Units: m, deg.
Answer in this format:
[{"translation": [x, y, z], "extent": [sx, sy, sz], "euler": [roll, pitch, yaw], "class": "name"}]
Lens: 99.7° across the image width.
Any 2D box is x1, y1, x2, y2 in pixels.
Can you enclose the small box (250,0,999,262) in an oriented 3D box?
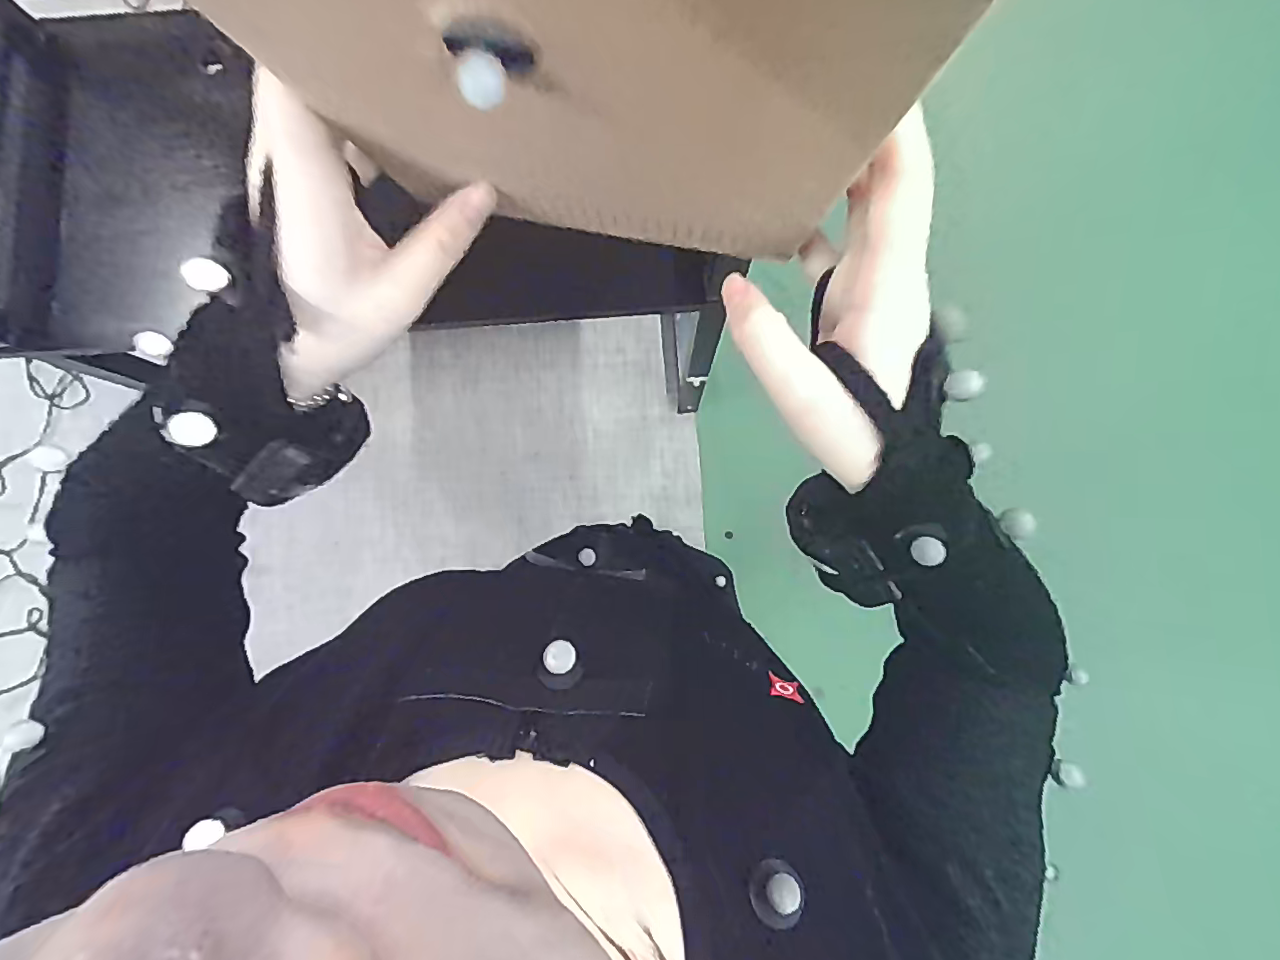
[{"translation": [-0.003, -0.183, 0.169], "extent": [0.179, 0.176, 0.168], "euler": [10, 98, 1], "class": "small box"}]
